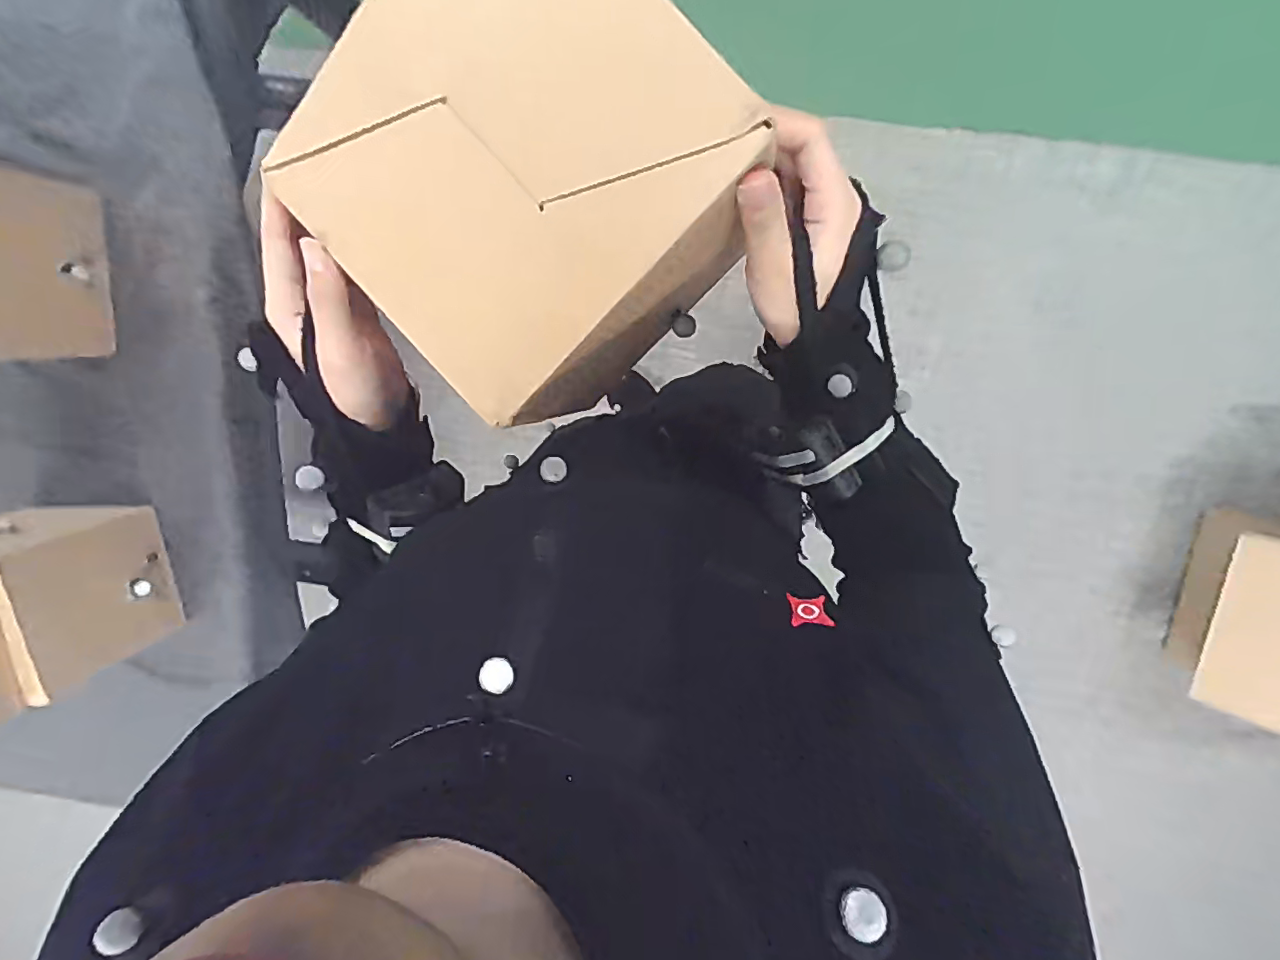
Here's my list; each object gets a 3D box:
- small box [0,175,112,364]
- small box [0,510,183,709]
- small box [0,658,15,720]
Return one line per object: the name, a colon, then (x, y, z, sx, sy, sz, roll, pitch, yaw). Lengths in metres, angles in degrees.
small box: (-0.676, -0.213, 0.524, 0.168, 0.176, 0.179, 9, 105, 2)
small box: (-0.691, 0.137, 0.620, 0.179, 0.176, 0.168, -2, 105, 4)
small box: (-0.716, 0.174, 0.463, 0.168, 0.176, 0.179, 2, 104, 2)
